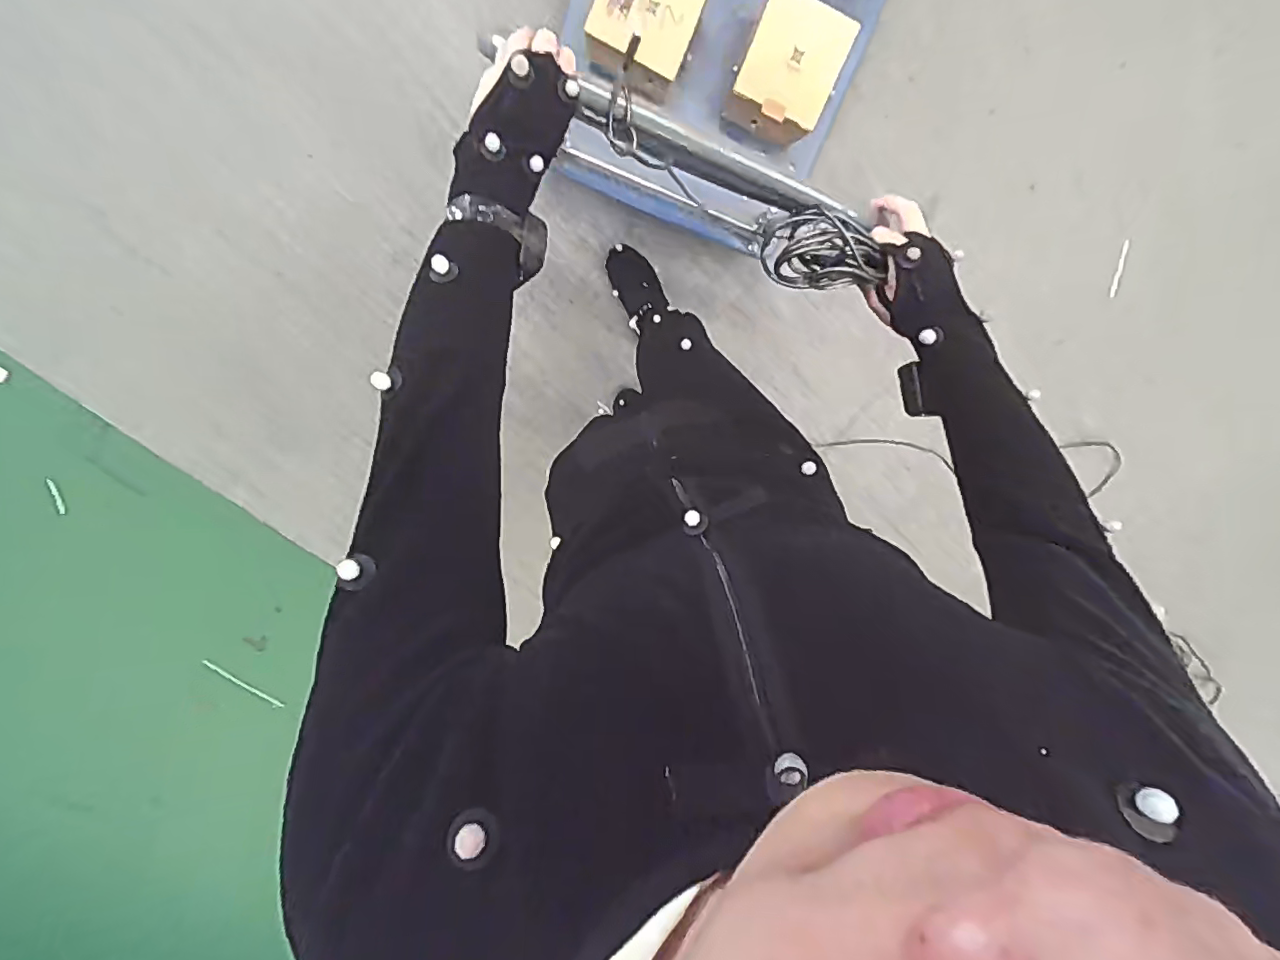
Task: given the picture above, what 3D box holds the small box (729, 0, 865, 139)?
[{"bbox_3d":[0.281,-0.781,1.021,0.168,0.176,0.179,21,113,-9],"label":"small box"}]
